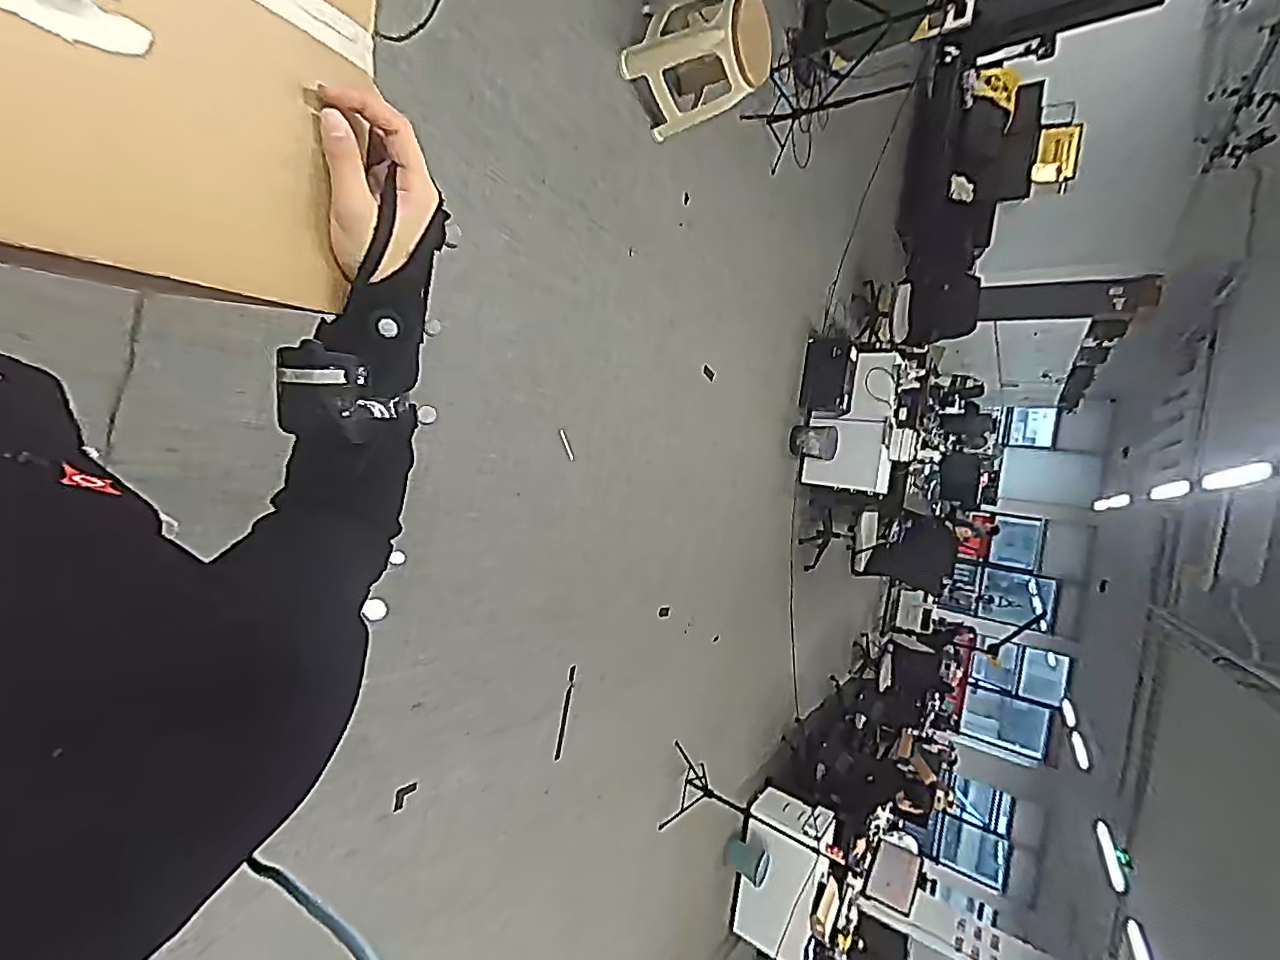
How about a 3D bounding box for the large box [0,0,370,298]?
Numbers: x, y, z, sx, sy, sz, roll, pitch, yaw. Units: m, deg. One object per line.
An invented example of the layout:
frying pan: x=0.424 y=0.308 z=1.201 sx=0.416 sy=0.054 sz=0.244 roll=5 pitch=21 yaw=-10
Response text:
large box: x=-0.404 y=-0.290 z=0.245 sx=0.408 sy=0.320 sz=0.320 roll=-6 pitch=109 yaw=-59
